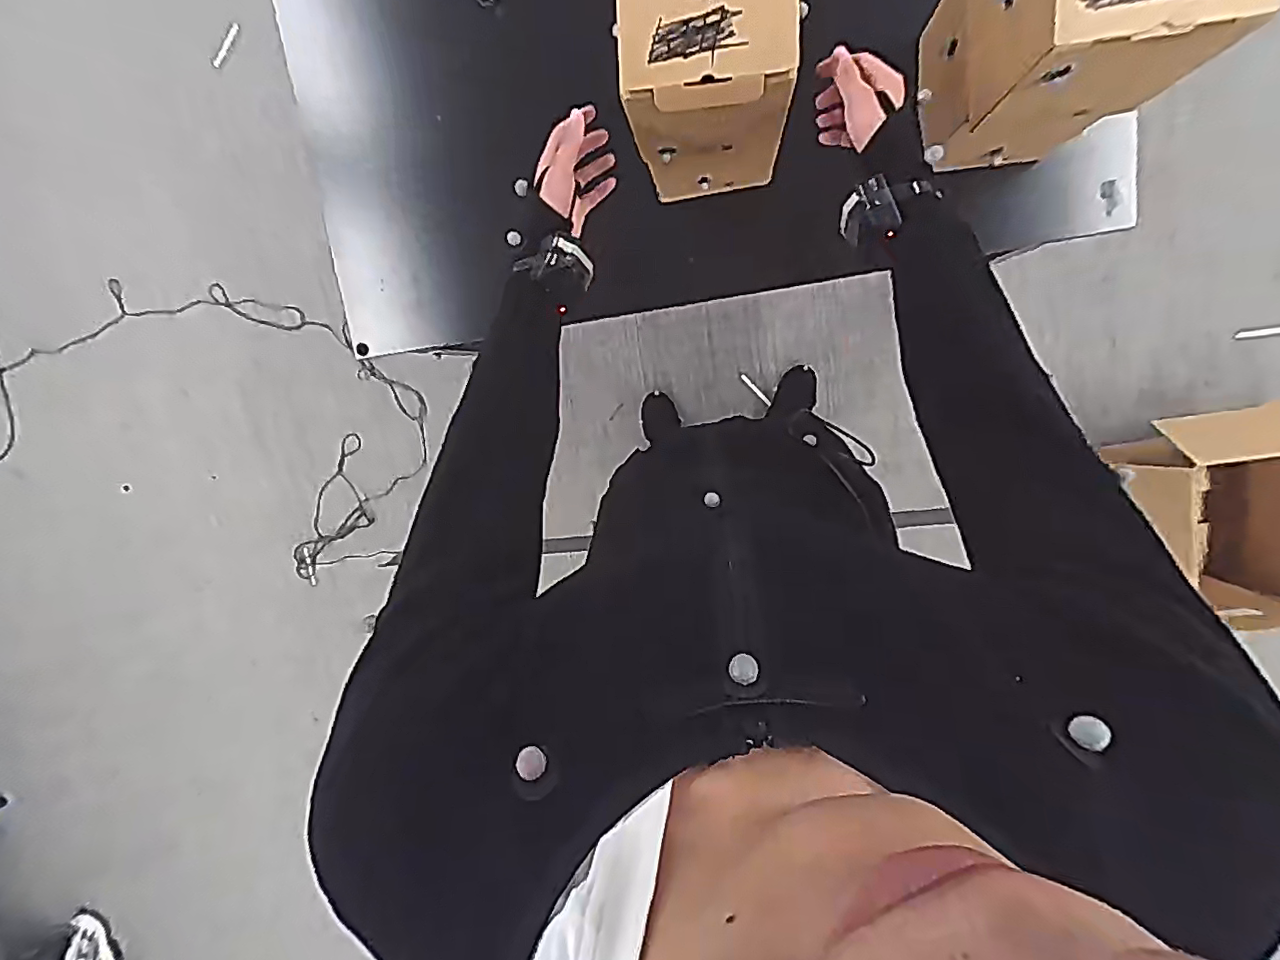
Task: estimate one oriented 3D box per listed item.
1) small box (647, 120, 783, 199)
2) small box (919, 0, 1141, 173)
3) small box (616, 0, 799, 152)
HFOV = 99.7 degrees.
[{"bbox_3d":[0.090,-0.500,0.713,0.168,0.176,0.179,-6,100,9],"label":"small box"},{"bbox_3d":[0.455,-0.504,0.657,0.168,0.176,0.179,-2,101,10],"label":"small box"},{"bbox_3d":[0.070,-0.461,0.555,0.168,0.176,0.179,-1,101,8],"label":"small box"}]
